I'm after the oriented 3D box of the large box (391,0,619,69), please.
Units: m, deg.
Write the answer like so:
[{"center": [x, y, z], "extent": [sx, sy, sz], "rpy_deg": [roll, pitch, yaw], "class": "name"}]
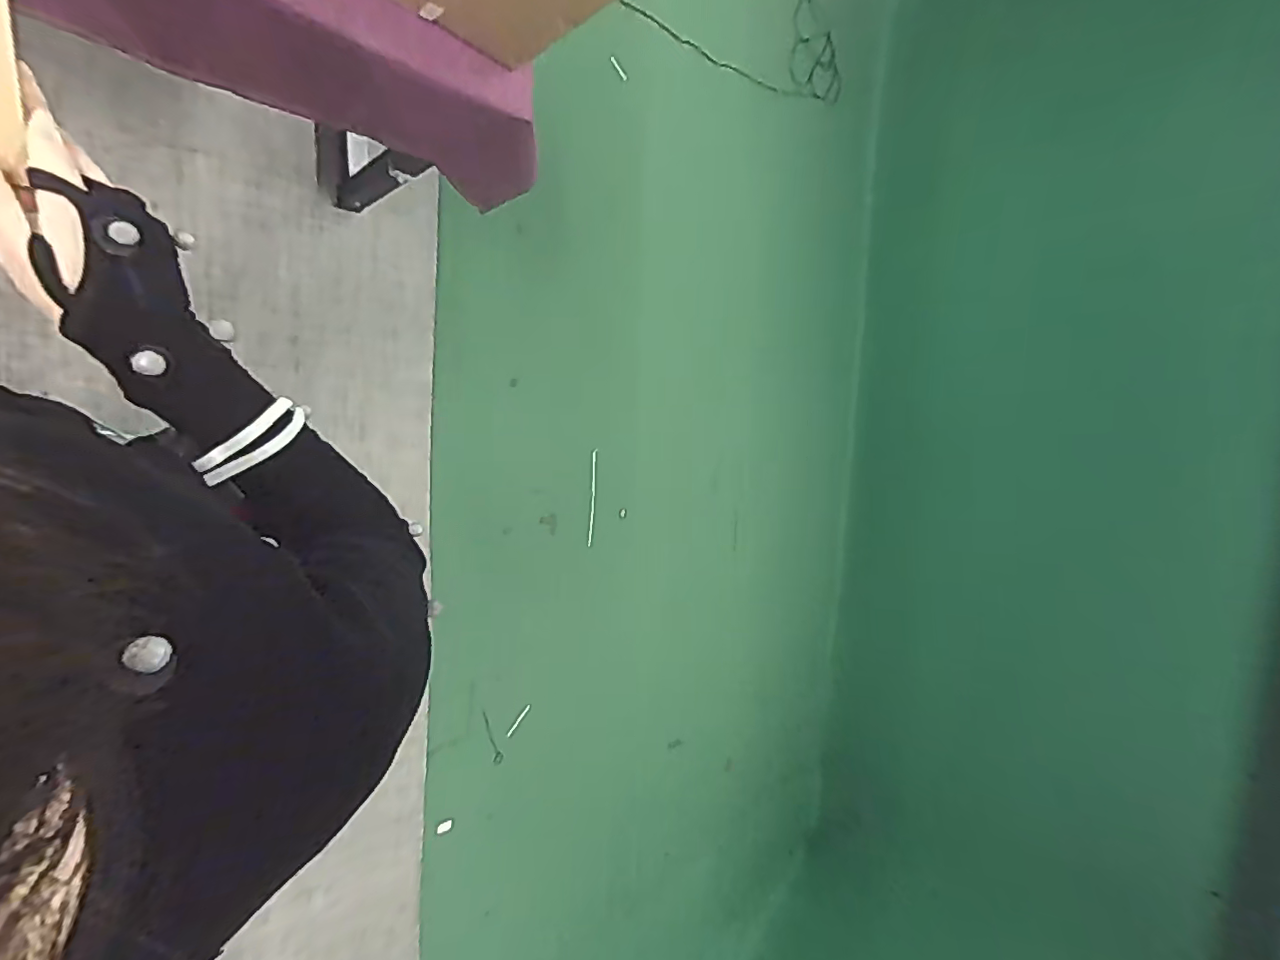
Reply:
[{"center": [-0.195, -0.846, 0.660], "extent": [0.320, 0.320, 0.408], "rpy_deg": [-3, 99, -48], "class": "large box"}]
